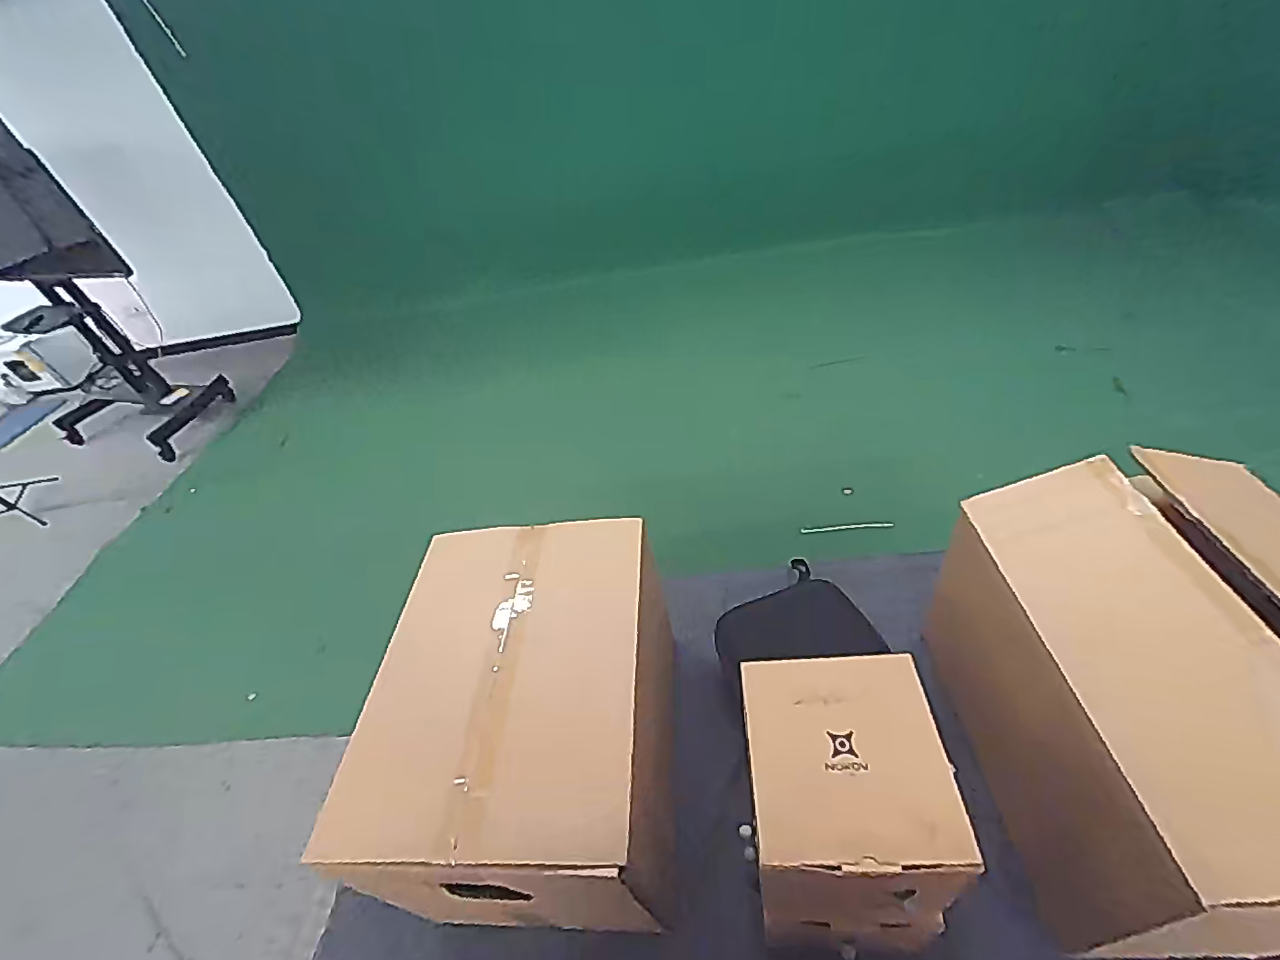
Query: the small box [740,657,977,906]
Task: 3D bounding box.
[{"bbox_3d":[0.193,0.298,0.532,0.168,0.176,0.179,-5,42,7],"label":"small box"}]
